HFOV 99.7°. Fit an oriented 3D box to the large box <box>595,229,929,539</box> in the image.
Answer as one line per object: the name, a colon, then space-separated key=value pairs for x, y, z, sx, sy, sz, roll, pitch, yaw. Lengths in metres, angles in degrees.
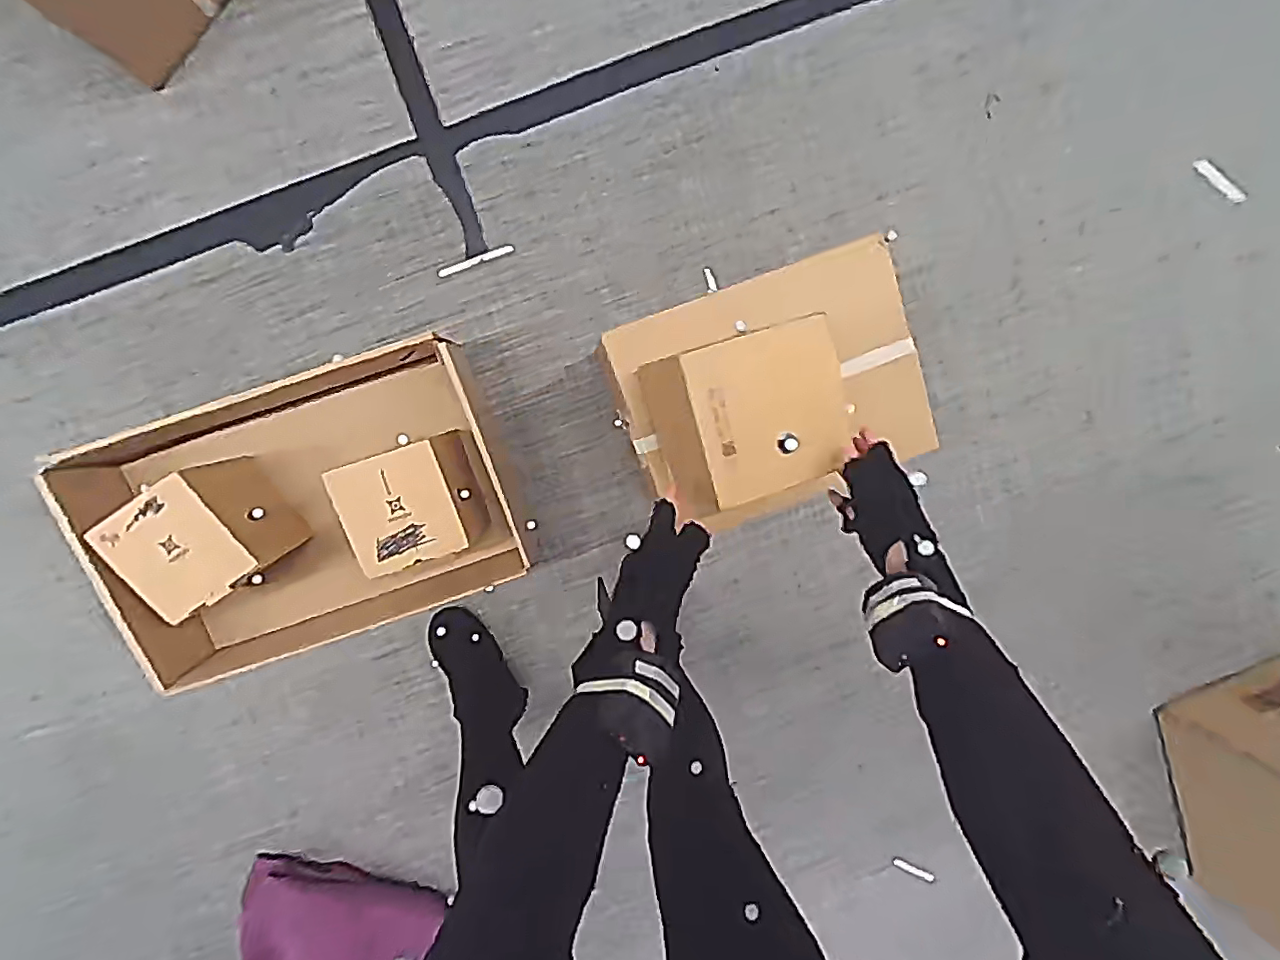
large box: x=0.167 y=-0.149 z=0.892 sx=0.408 sy=0.320 sz=0.320 roll=-21 pitch=102 yaw=-3
